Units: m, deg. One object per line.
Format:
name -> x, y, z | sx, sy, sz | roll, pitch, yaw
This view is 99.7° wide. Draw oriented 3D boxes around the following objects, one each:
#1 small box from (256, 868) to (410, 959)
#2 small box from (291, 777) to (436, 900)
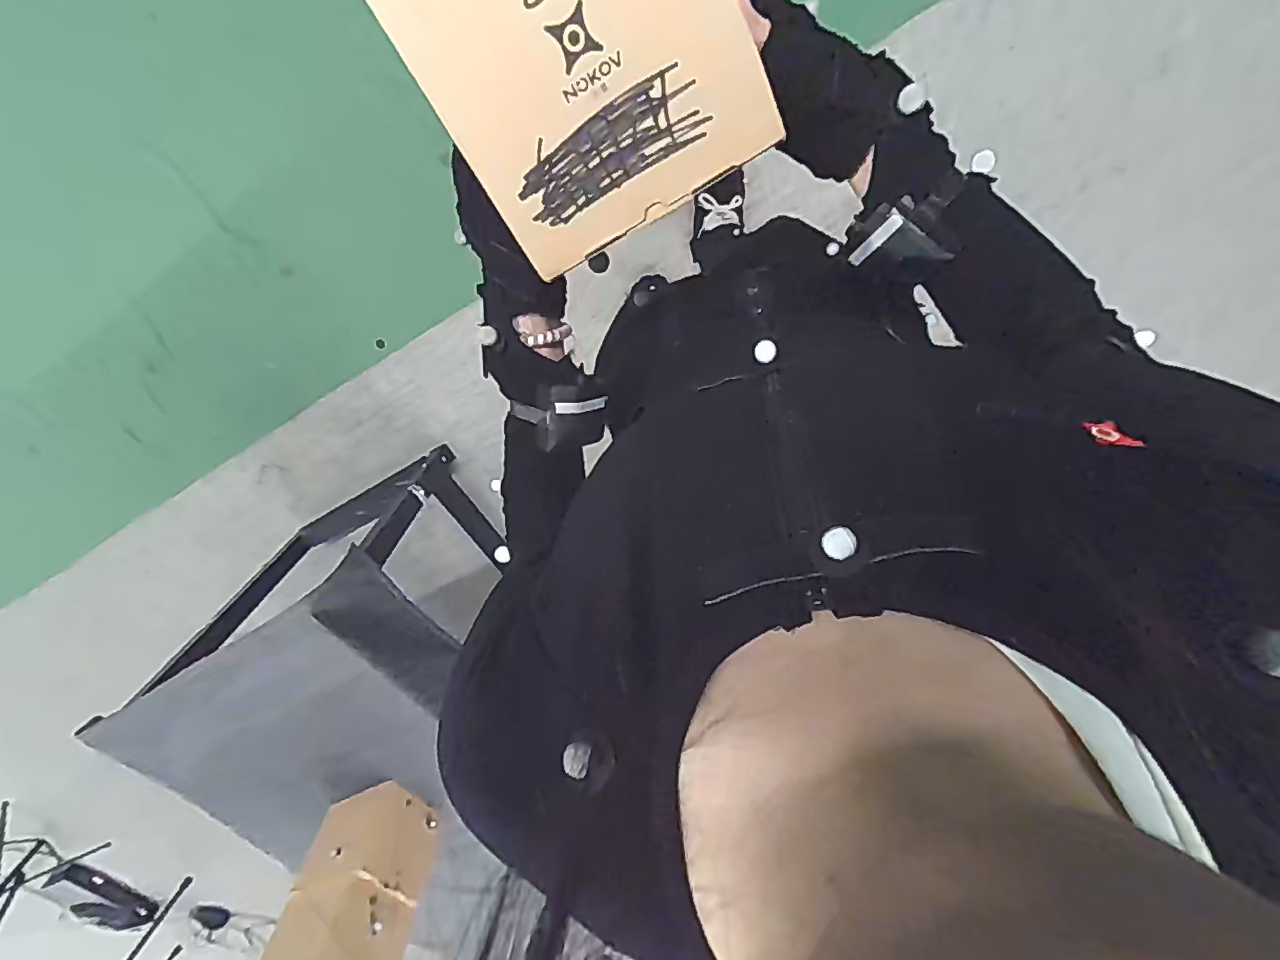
small box -> -0.546, 0.831, 0.957 | 0.179, 0.176, 0.168 | -29, 116, 14
small box -> -0.540, 0.735, 1.091 | 0.179, 0.176, 0.168 | -27, 115, 15
